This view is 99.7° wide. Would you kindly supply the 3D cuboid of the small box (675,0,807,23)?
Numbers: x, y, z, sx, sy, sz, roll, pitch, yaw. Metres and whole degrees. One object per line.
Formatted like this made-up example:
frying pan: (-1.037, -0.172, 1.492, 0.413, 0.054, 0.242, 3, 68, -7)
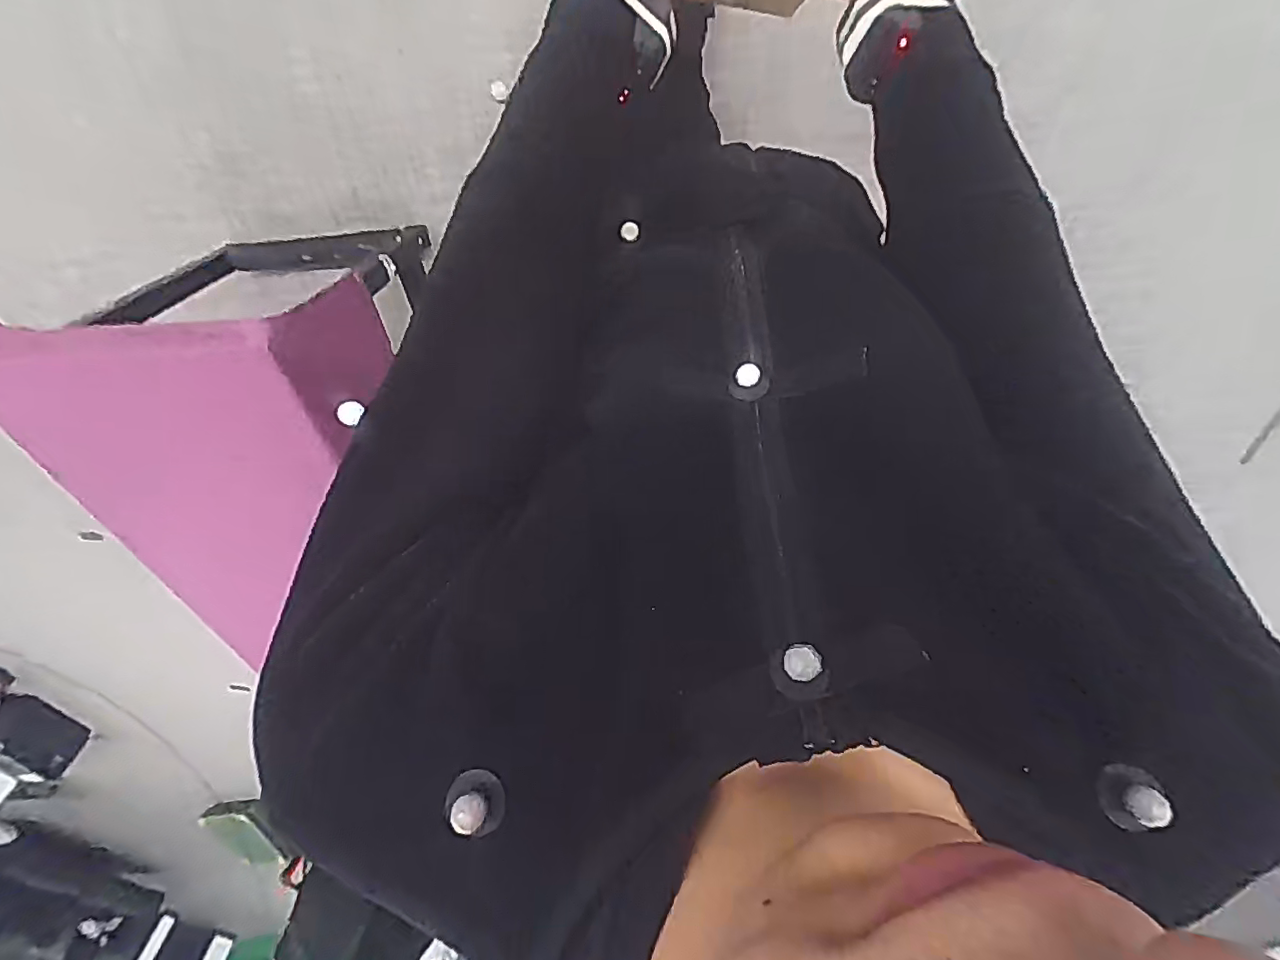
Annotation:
small box: (0.111, -0.583, 0.509, 0.168, 0.176, 0.179, 6, 113, -6)
